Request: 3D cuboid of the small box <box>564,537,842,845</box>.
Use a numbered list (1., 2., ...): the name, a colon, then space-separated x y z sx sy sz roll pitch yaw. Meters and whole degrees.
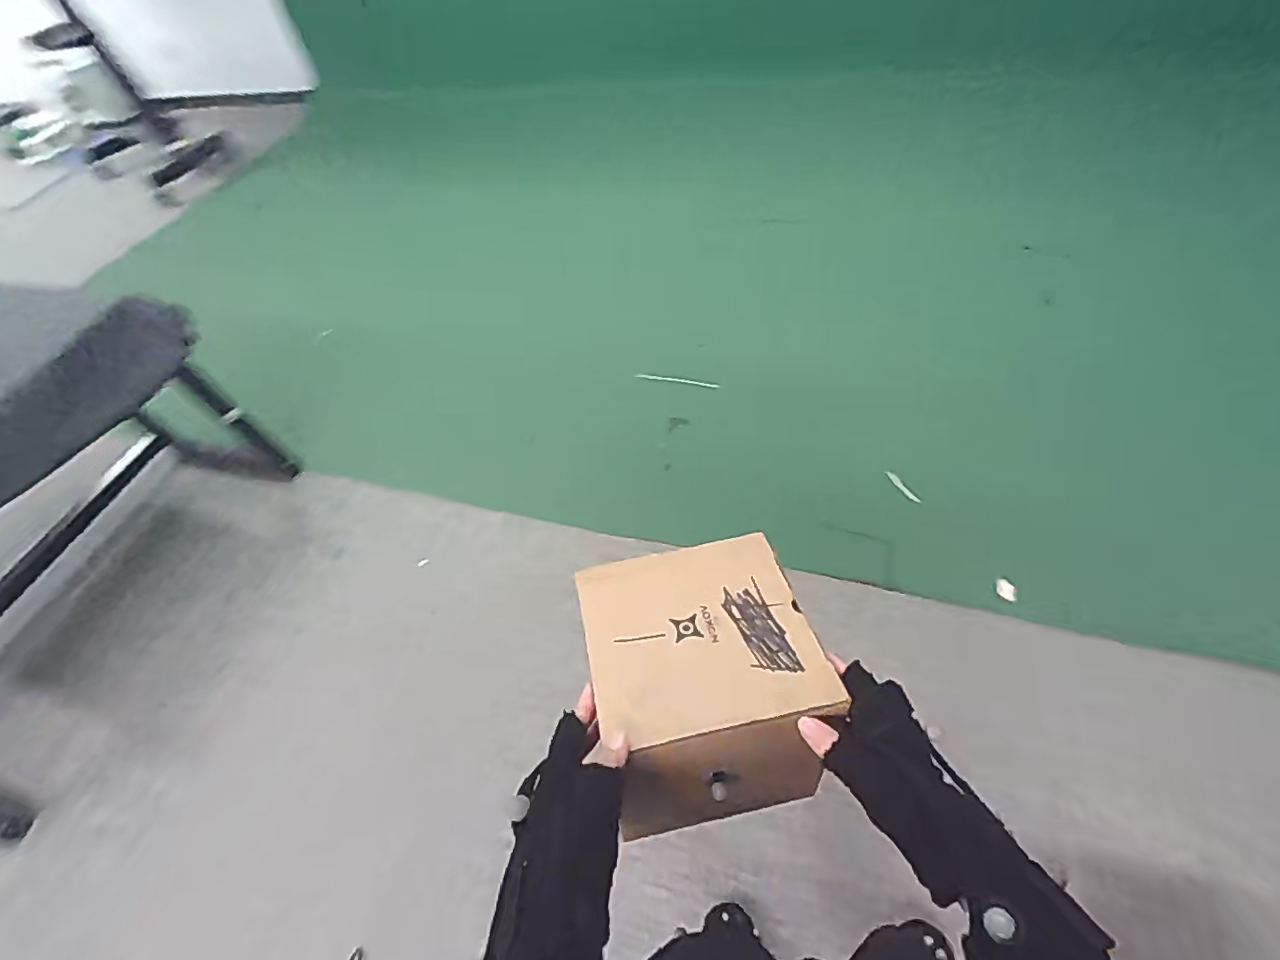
1. small box: 0.040 0.179 0.468 0.179 0.176 0.168 -12 41 -11
